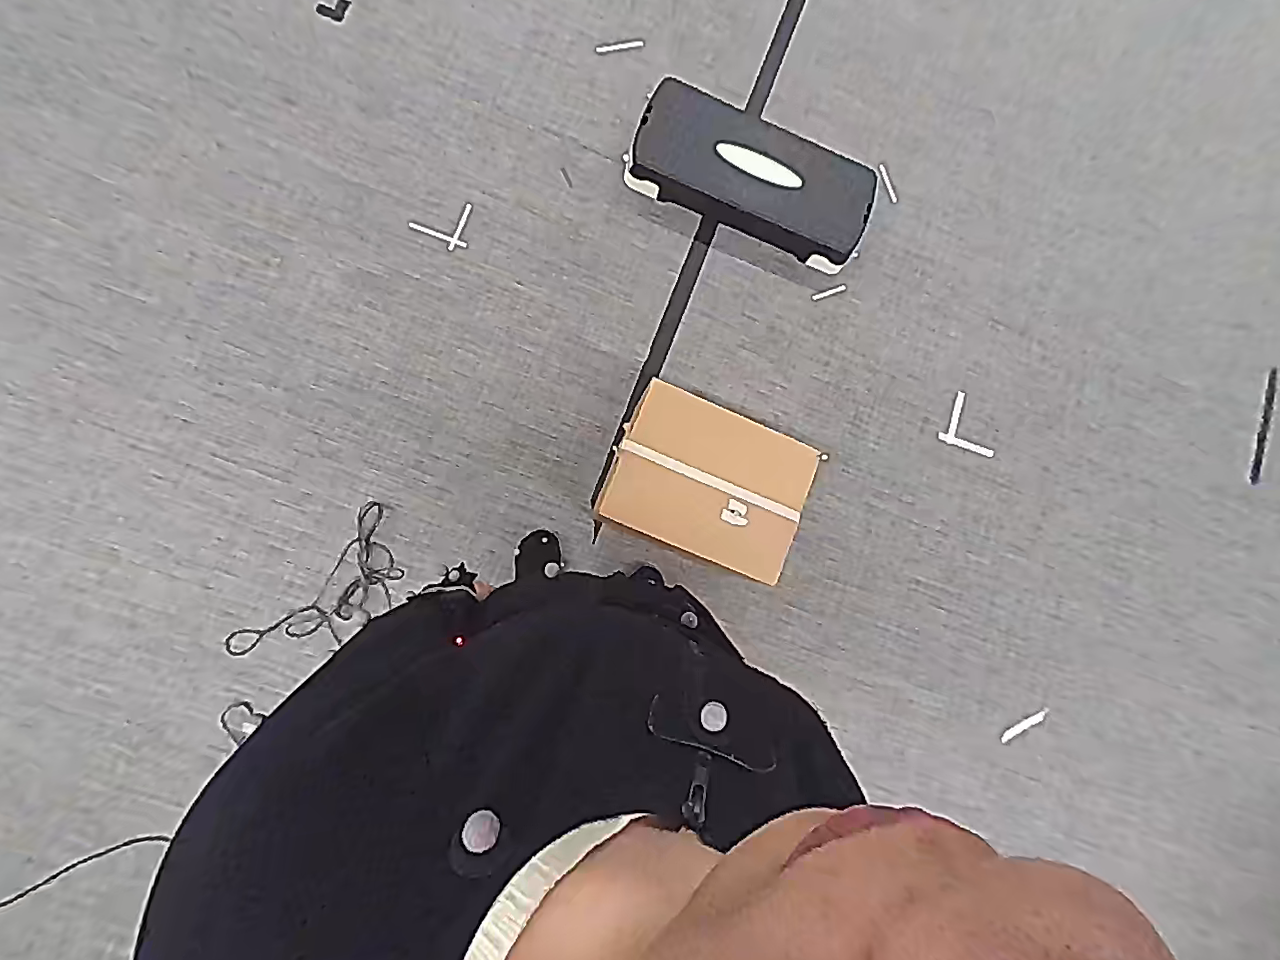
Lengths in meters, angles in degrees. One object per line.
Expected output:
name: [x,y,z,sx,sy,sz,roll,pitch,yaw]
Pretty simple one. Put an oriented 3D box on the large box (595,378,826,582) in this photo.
large box: [0.139,0.013,1.259,0.408,0.320,0.320,23,83,-6]
